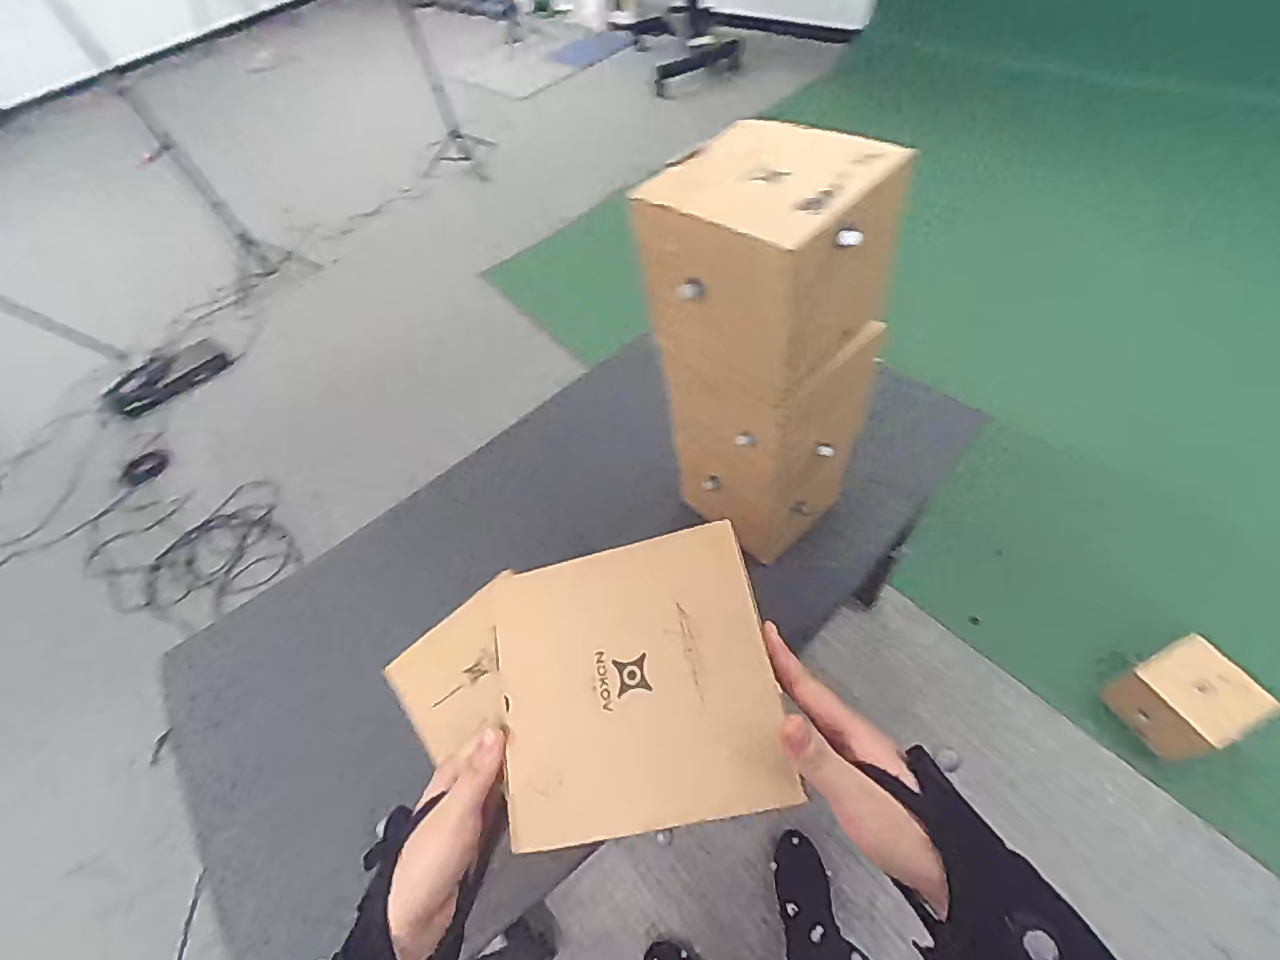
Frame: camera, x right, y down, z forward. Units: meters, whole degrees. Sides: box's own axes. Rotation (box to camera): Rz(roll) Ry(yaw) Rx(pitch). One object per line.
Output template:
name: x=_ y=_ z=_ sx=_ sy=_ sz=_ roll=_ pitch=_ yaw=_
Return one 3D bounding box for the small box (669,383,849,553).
small box: x=0.167 y=-0.019 z=0.775 sx=0.168 sy=0.176 sz=0.179 roll=-40 pitch=56 yaw=-17

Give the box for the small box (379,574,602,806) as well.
small box: x=-0.162 y=0.252 z=0.644 sx=0.179 sy=0.176 sz=0.168 roll=-39 pitch=57 yaw=-16

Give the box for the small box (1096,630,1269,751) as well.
small box: x=1.141 y=0.457 z=1.161 sx=0.179 sy=0.176 sz=0.168 roll=-25 pitch=56 yaw=-8

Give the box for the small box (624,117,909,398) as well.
small box: x=0.113 y=-0.207 z=0.511 sx=0.179 sy=0.176 sz=0.168 roll=35 pitch=68 yaw=31
